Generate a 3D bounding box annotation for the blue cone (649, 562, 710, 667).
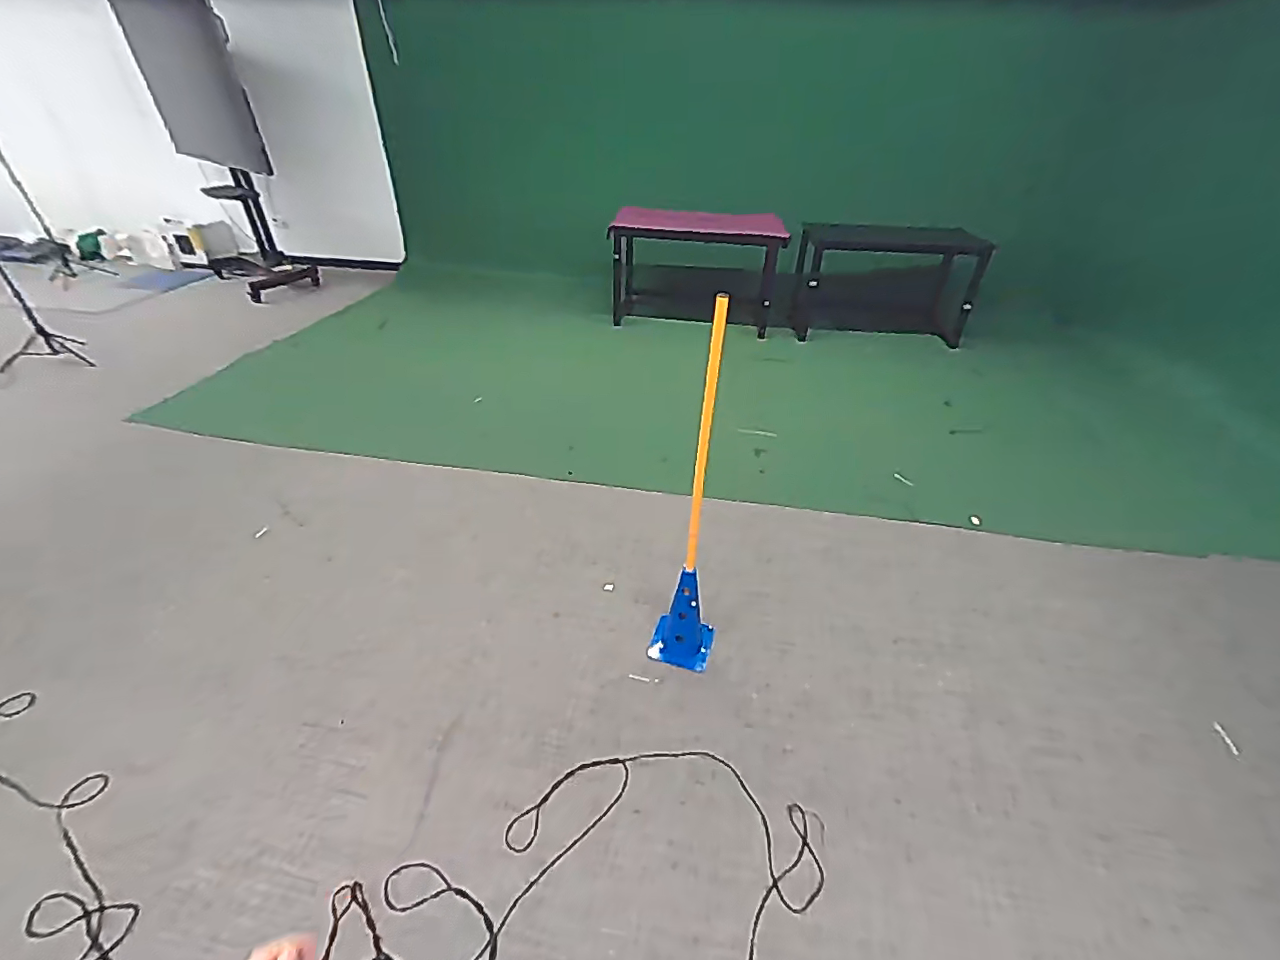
[{"bbox_3d":[0.142,0.425,1.780,0.193,0.380,0.192,13,36,14],"label":"blue cone"}]
